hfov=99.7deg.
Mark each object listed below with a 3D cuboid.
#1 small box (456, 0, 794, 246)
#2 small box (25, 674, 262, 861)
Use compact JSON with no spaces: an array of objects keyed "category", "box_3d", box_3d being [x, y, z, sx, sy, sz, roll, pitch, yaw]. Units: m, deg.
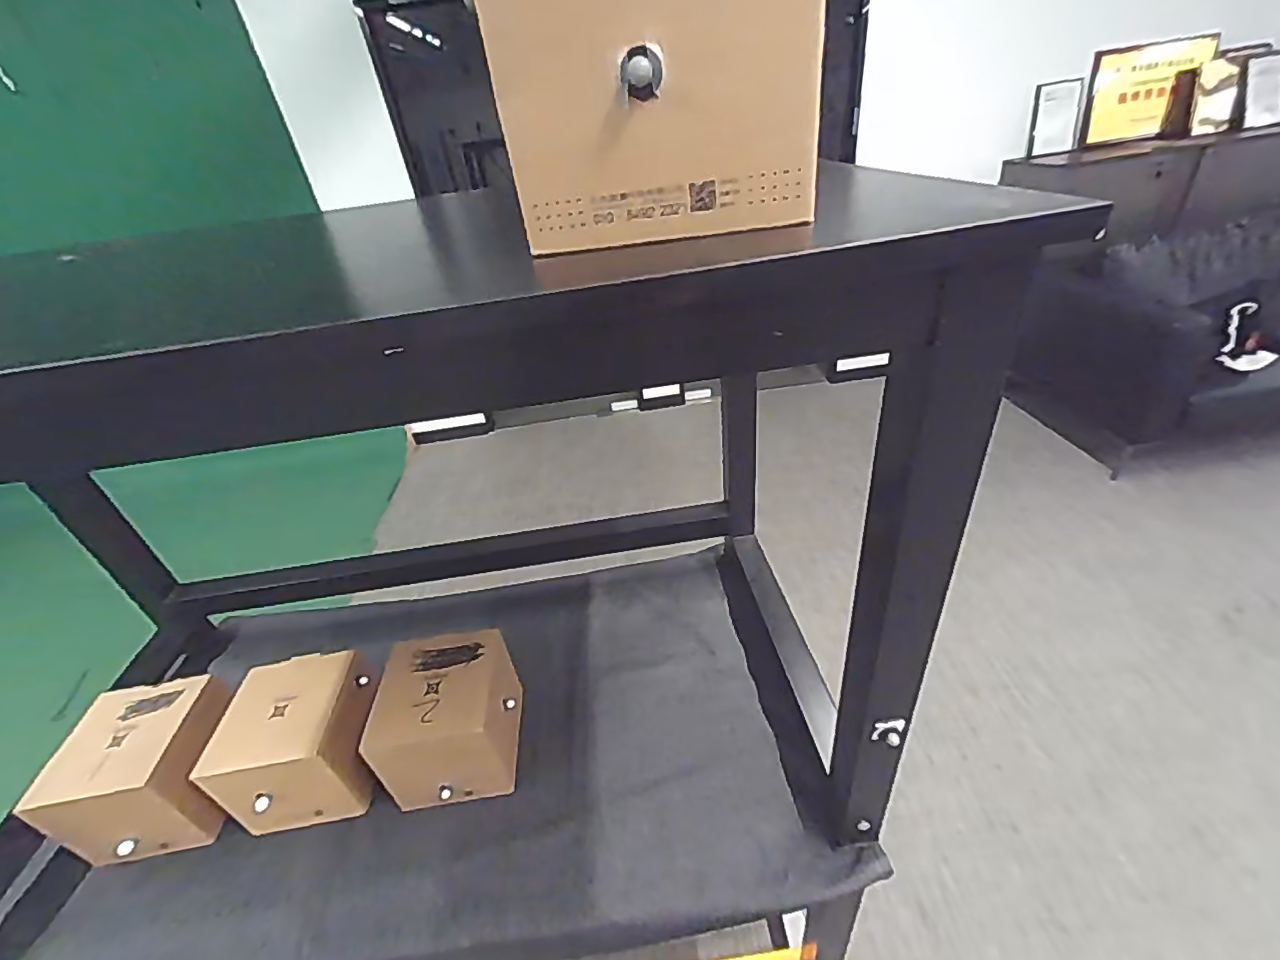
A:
[{"category":"small box","box_3d":[0.003,-0.253,0.337,0.168,0.176,0.179,-3,34,8]},{"category":"small box","box_3d":[-0.712,0.426,0.808,0.168,0.176,0.179,-10,34,-3]}]
